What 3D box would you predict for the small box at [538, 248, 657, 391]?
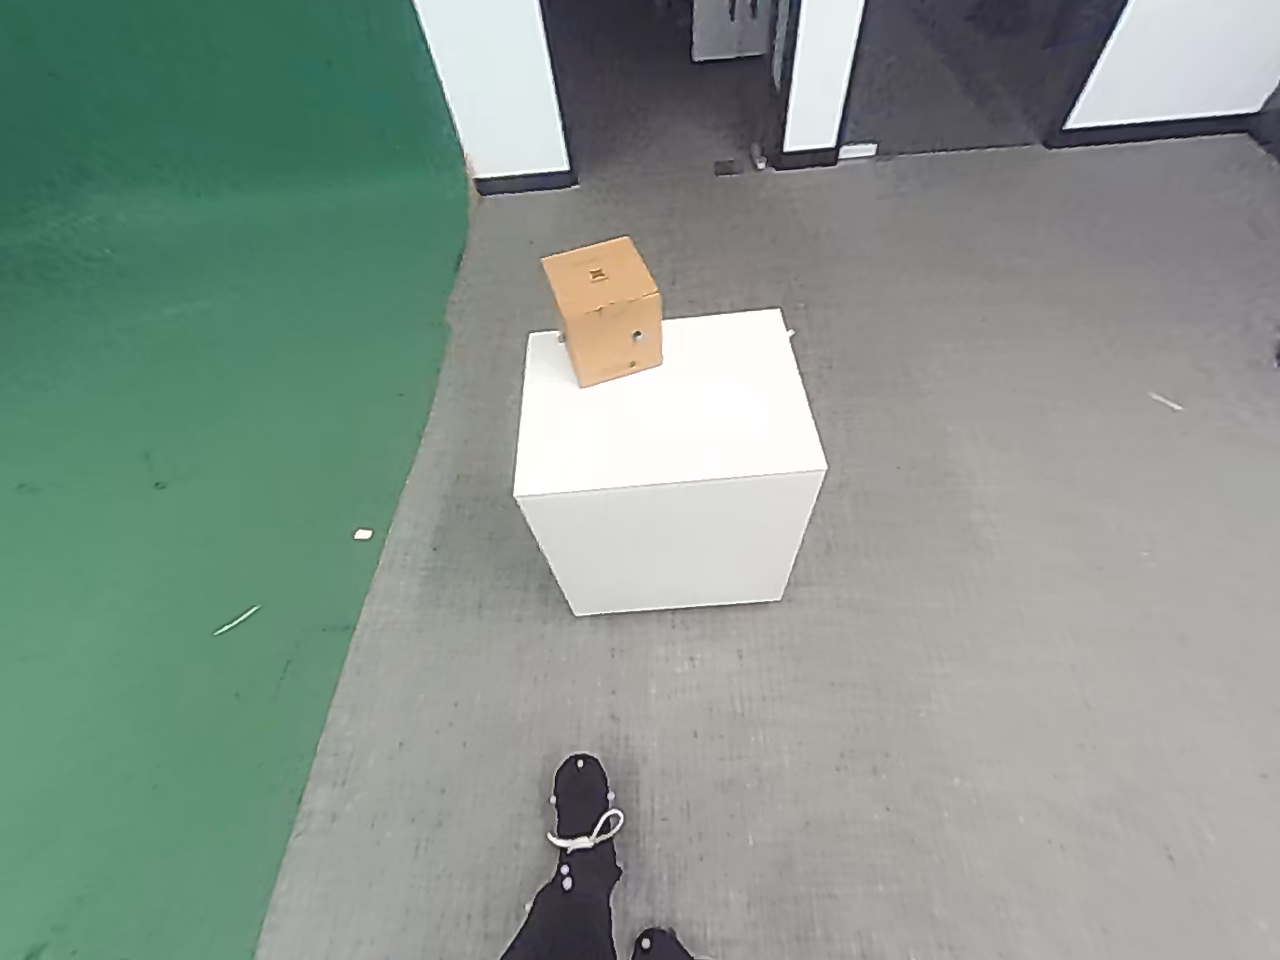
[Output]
[{"bbox_3d":[-0.073,-0.283,0.985,0.168,0.176,0.179,-18,56,-8],"label":"small box"}]
